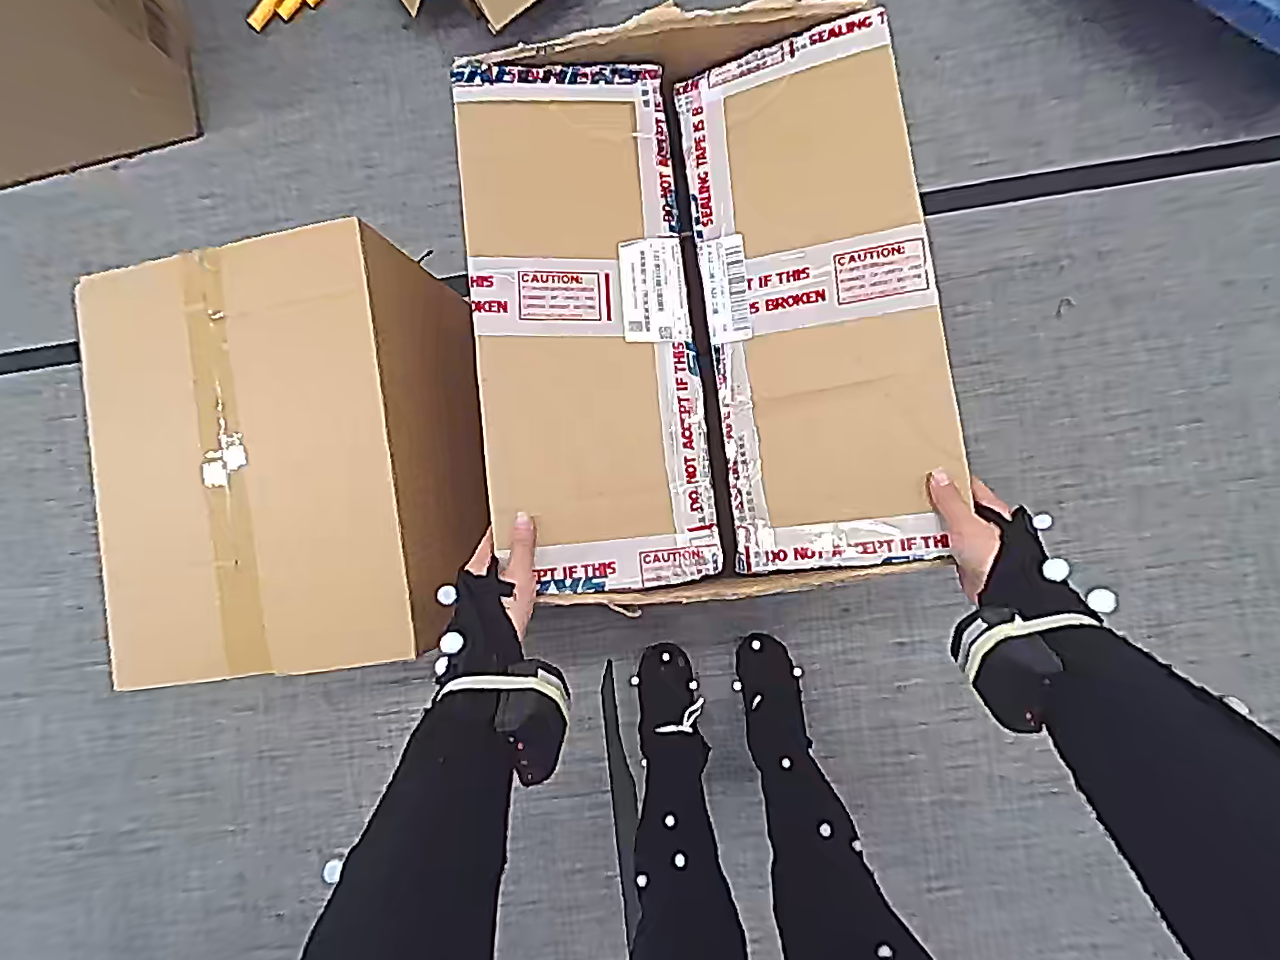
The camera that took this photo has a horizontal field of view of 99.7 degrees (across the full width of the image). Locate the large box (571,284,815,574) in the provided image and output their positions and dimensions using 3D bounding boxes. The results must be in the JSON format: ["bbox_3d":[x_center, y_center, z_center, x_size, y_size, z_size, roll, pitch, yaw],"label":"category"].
[{"bbox_3d":[0.081,-0.072,0.955,0.320,0.320,0.408,-9,87,3],"label":"large box"}]
